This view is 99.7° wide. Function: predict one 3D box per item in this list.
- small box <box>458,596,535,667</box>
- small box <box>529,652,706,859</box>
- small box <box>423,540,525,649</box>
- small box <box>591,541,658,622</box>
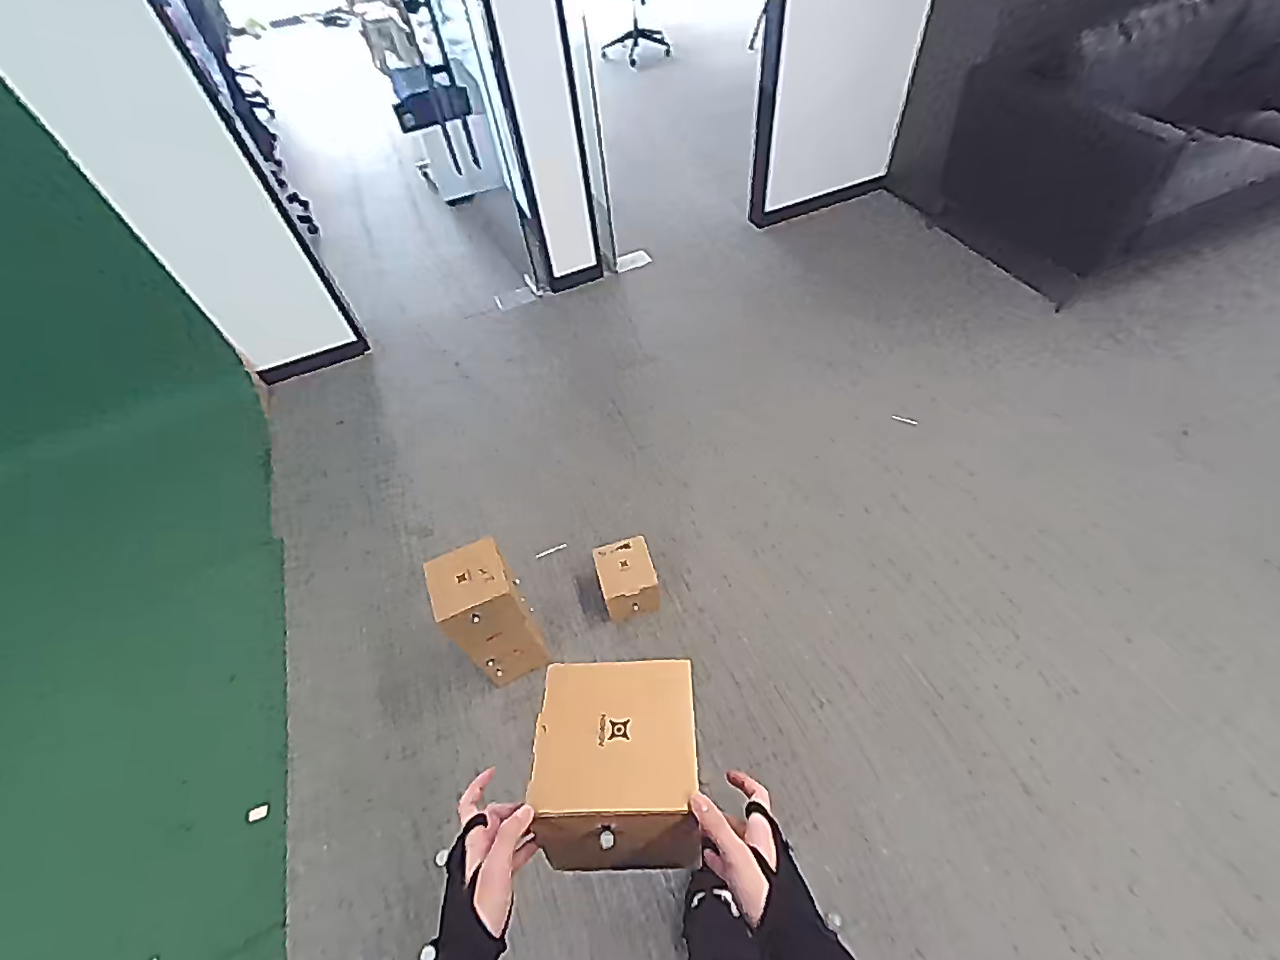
[{"bbox_3d":[-0.396,0.377,1.445,0.168,0.176,0.179,-23,53,-12],"label":"small box"},{"bbox_3d":[-0.017,0.324,0.638,0.179,0.176,0.168,-4,38,3],"label":"small box"},{"bbox_3d":[-0.398,0.282,1.310,0.179,0.176,0.168,-22,54,-12],"label":"small box"},{"bbox_3d":[-0.044,0.319,1.664,0.168,0.176,0.179,-15,53,-7],"label":"small box"}]
